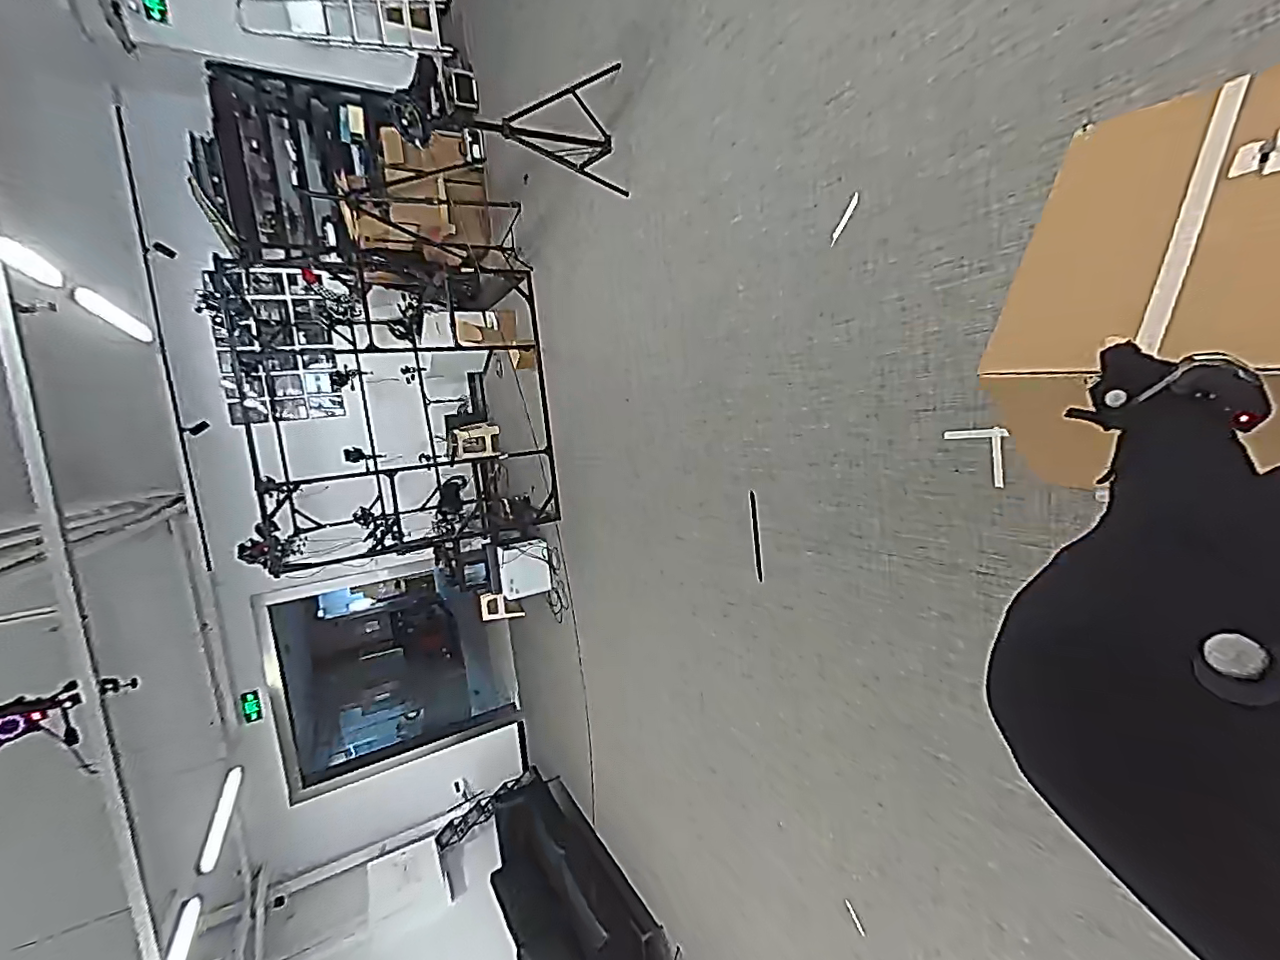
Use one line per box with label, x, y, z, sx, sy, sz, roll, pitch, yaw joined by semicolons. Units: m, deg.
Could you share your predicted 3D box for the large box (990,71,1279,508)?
large box;0.714;-0.215;0.678;0.320;0.320;0.408;14;73;53
